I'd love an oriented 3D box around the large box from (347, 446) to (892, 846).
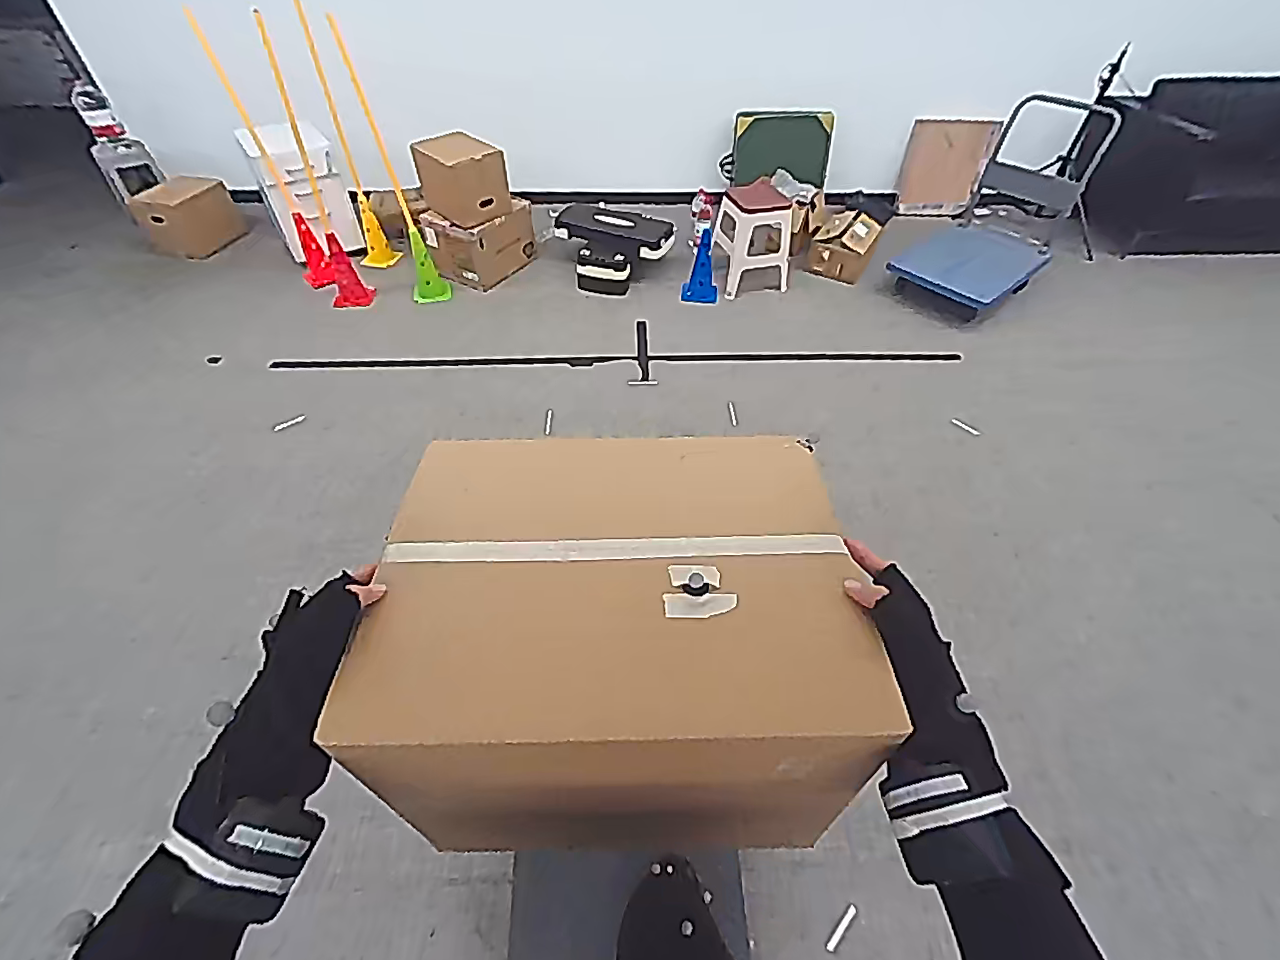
[{"bbox_3d":[-0.017,0.179,0.595,0.408,0.320,0.320,-1,44,0],"label":"large box"}]
